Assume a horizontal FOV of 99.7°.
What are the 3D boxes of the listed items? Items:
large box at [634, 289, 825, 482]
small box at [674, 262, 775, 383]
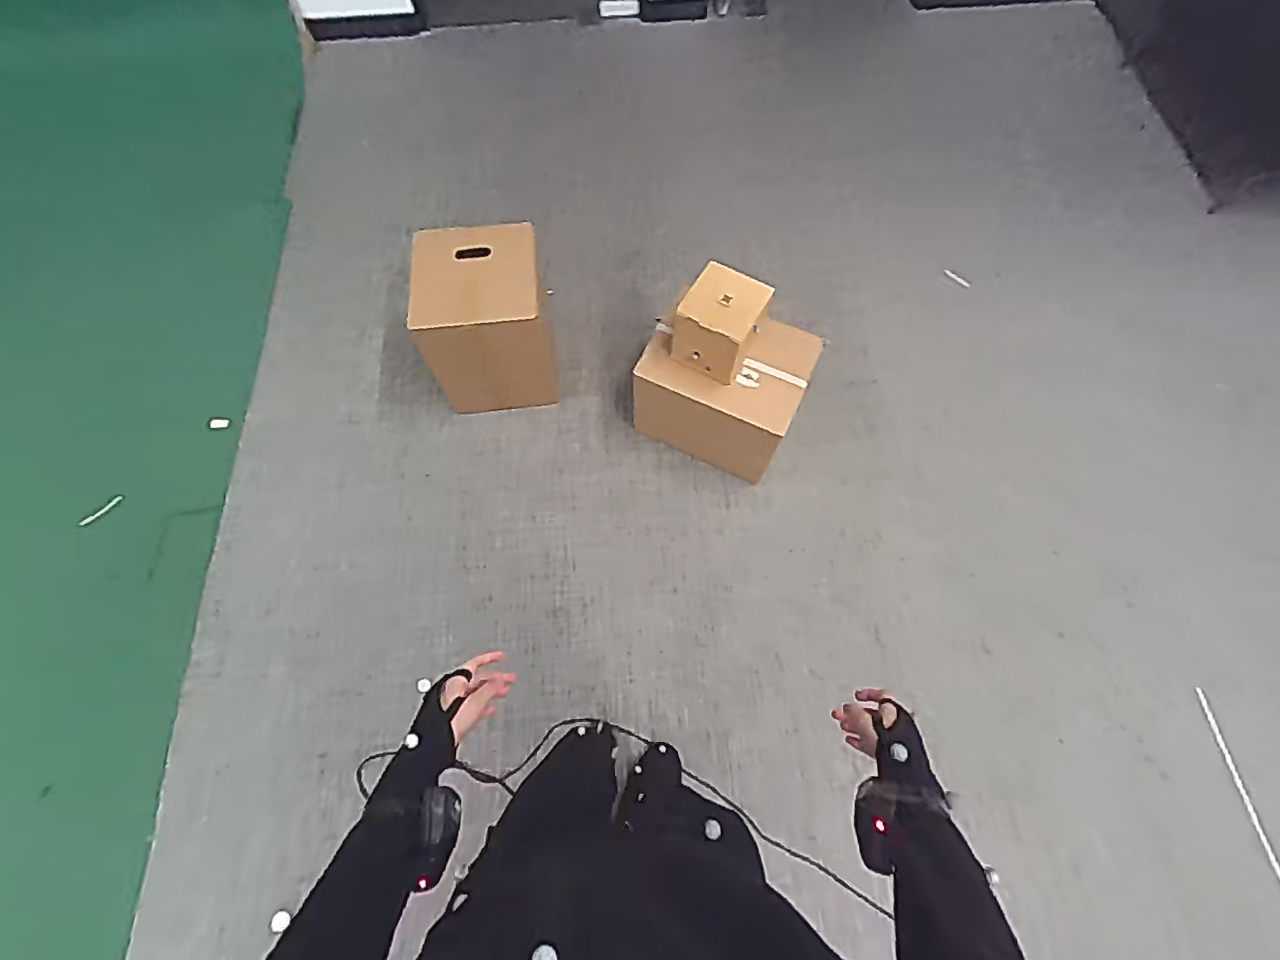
[{"bbox_3d":[0.224,-0.249,1.485,0.408,0.320,0.320,25,70,8],"label":"large box"},{"bbox_3d":[0.189,-0.366,1.271,0.168,0.176,0.179,29,70,11],"label":"small box"}]
